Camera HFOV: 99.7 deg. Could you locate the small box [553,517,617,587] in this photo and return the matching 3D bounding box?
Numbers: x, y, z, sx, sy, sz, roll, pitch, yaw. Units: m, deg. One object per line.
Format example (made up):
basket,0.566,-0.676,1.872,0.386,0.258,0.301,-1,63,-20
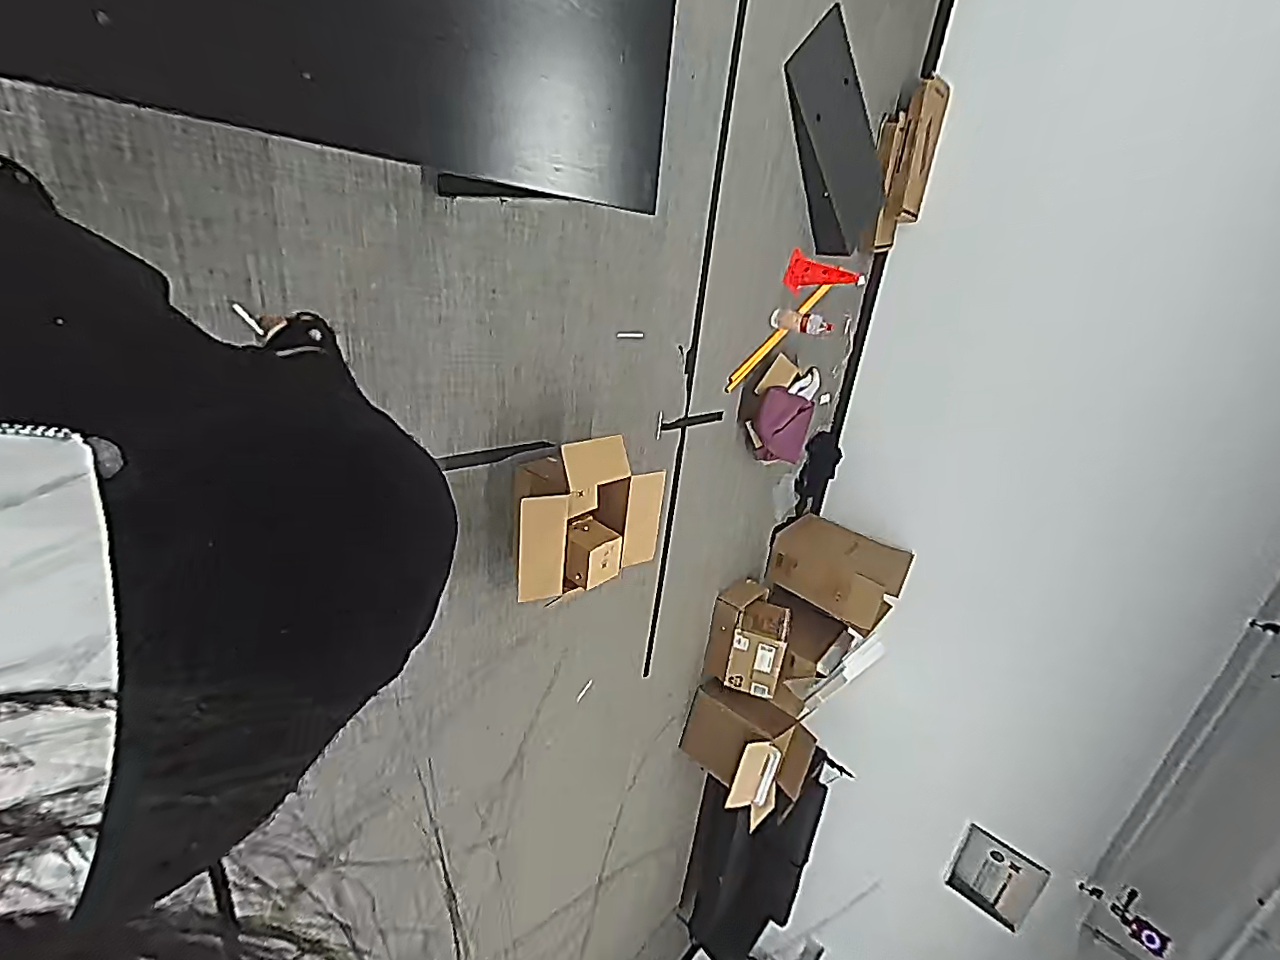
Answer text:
small box,-0.208,0.263,2.014,0.168,0.176,0.179,-20,126,-45
